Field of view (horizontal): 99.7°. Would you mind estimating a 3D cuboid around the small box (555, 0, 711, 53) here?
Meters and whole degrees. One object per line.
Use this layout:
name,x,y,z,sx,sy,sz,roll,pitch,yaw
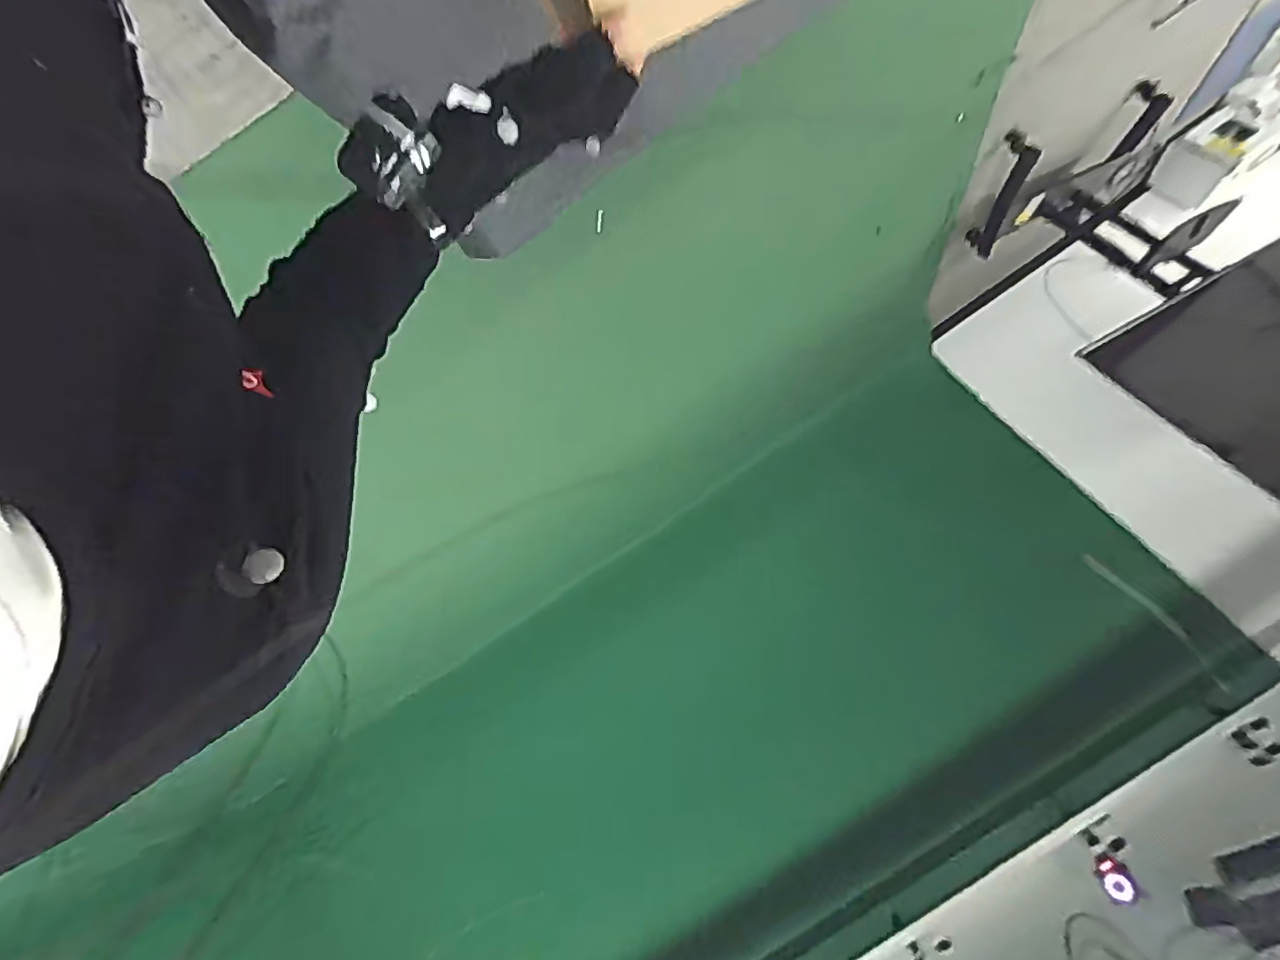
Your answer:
small box,-0.011,-0.473,0.395,0.179,0.176,0.168,-28,156,-2
